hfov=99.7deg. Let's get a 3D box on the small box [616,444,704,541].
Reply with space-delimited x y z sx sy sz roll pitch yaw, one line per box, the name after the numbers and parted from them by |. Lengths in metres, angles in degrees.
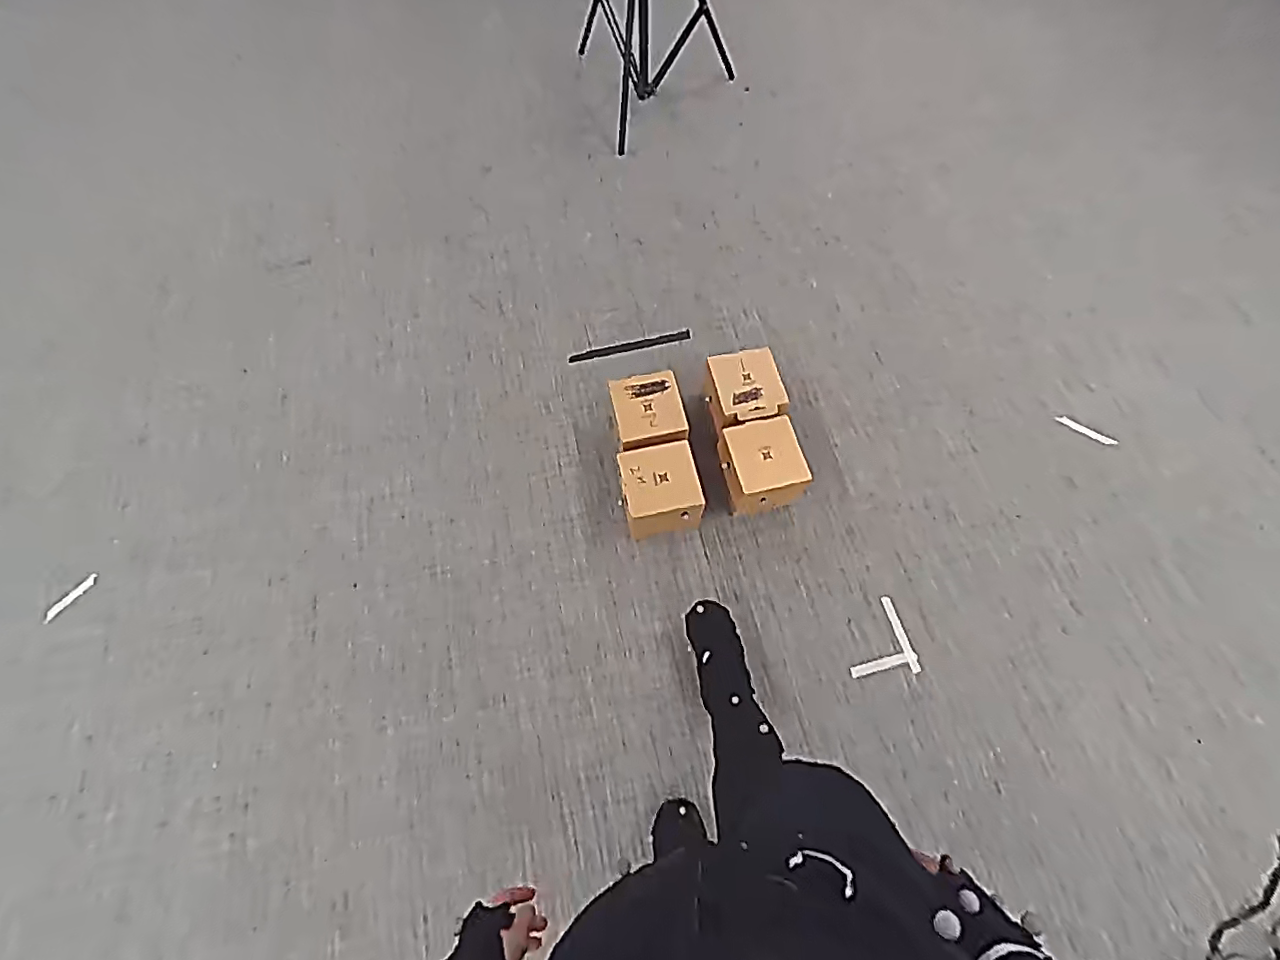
0.042 0.035 1.300 0.179 0.176 0.168 -11 67 -4 | small box
